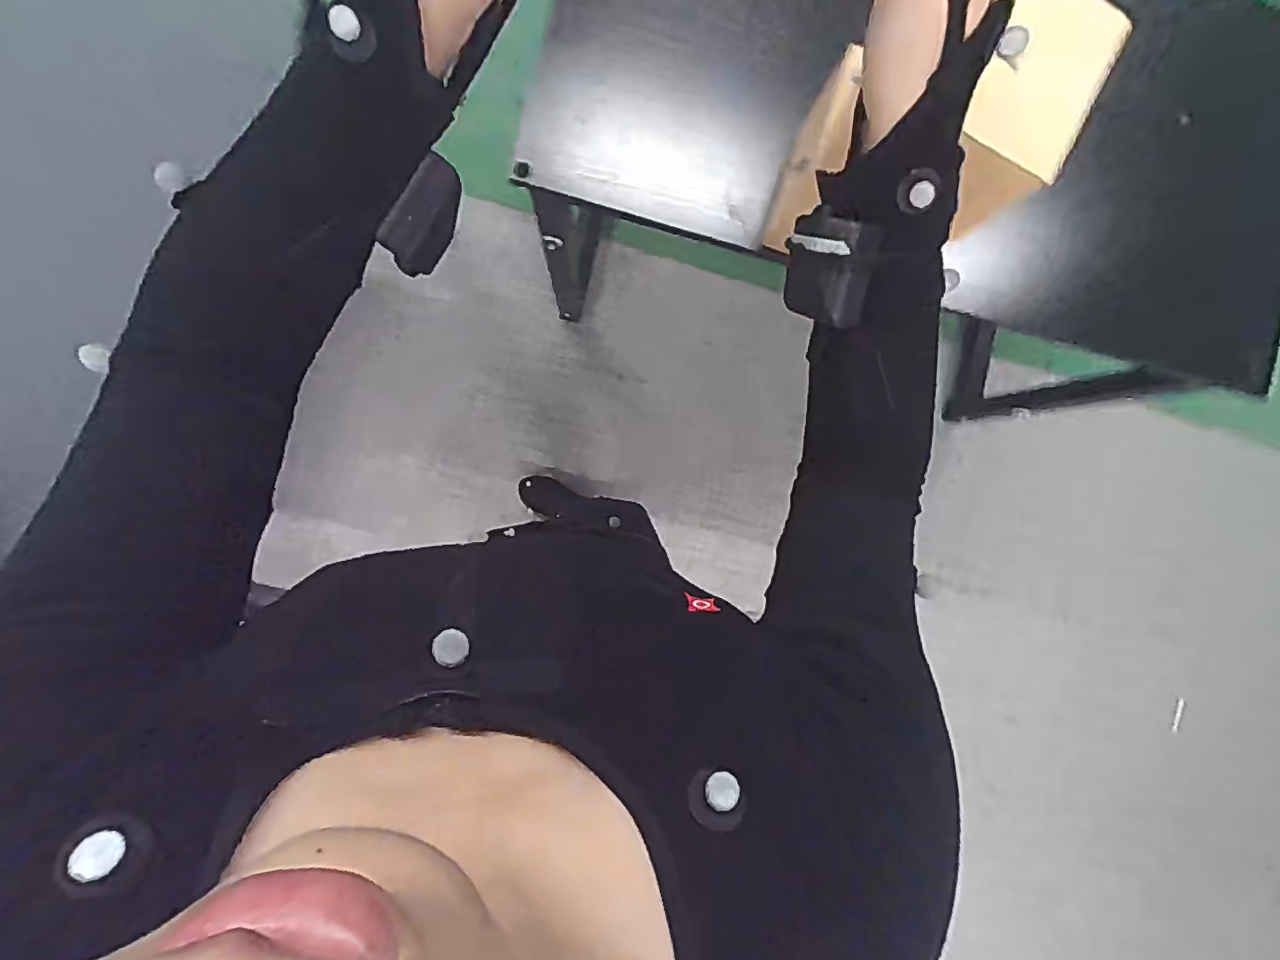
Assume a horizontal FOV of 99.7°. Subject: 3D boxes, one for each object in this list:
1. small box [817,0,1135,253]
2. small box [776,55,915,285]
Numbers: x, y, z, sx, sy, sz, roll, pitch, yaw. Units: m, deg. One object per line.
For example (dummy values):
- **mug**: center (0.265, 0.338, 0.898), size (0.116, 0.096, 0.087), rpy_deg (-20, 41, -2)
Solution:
- **small box**: center (0.315, -0.358, 0.545), size (0.179, 0.176, 0.168), rpy_deg (27, 89, -4)
- **small box**: center (0.295, -0.383, 0.706), size (0.168, 0.176, 0.179), rpy_deg (19, 89, -5)
